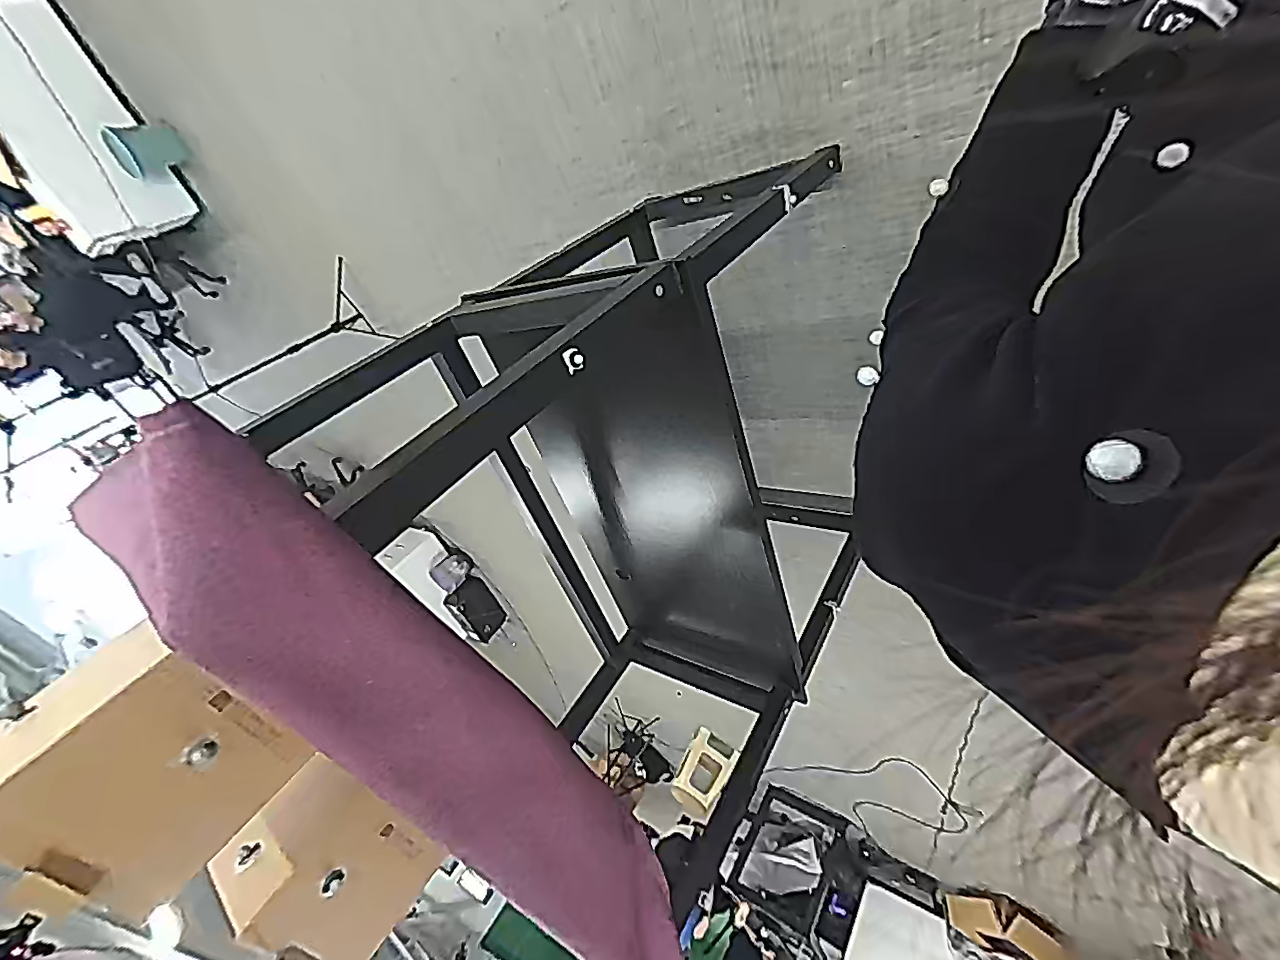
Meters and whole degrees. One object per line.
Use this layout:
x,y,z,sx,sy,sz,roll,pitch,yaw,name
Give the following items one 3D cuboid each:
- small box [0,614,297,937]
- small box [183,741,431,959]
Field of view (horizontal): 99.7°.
-0.458,0.247,0.495,0.179,0.176,0.168,2,130,43,small box
-0.383,0.450,0.647,0.179,0.176,0.168,5,130,41,small box
